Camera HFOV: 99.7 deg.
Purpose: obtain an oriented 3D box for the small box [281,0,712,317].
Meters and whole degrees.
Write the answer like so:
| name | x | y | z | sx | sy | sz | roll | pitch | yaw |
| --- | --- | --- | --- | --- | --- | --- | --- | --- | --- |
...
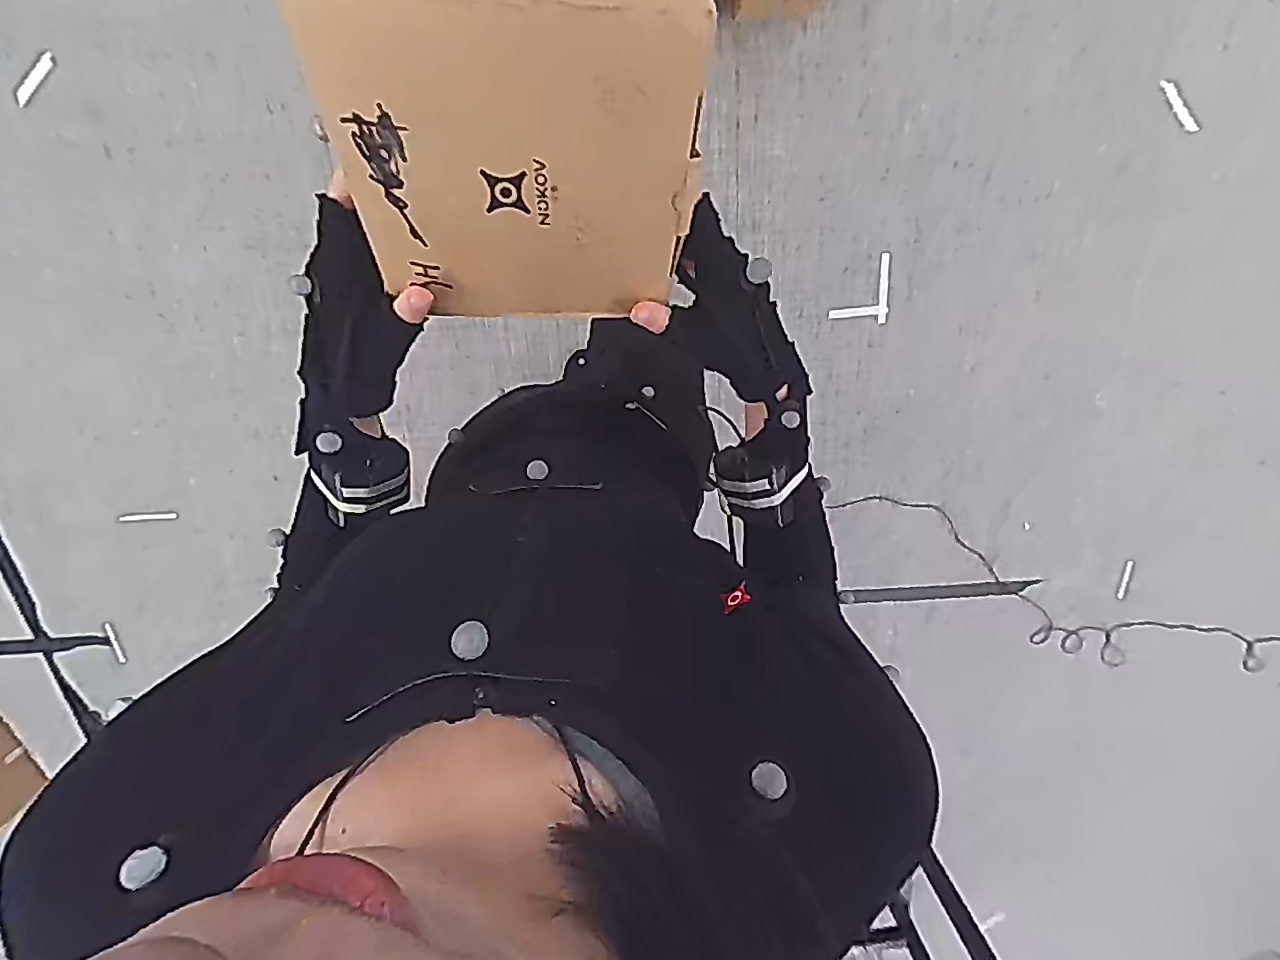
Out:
| name | x | y | z | sx | sy | sz | roll | pitch | yaw |
| --- | --- | --- | --- | --- | --- | --- | --- | --- | --- |
| small box | -0.071 | -0.220 | 0.325 | 0.179 | 0.176 | 0.168 | -2 | 148 | -8 |

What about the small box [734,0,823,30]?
| name | x | y | z | sx | sy | sz | roll | pitch | yaw |
| --- | --- | --- | --- | --- | --- | --- | --- | --- | --- |
| small box | 0.293 | -1.062 | 1.112 | 0.179 | 0.176 | 0.168 | -5 | 111 | -3 |
